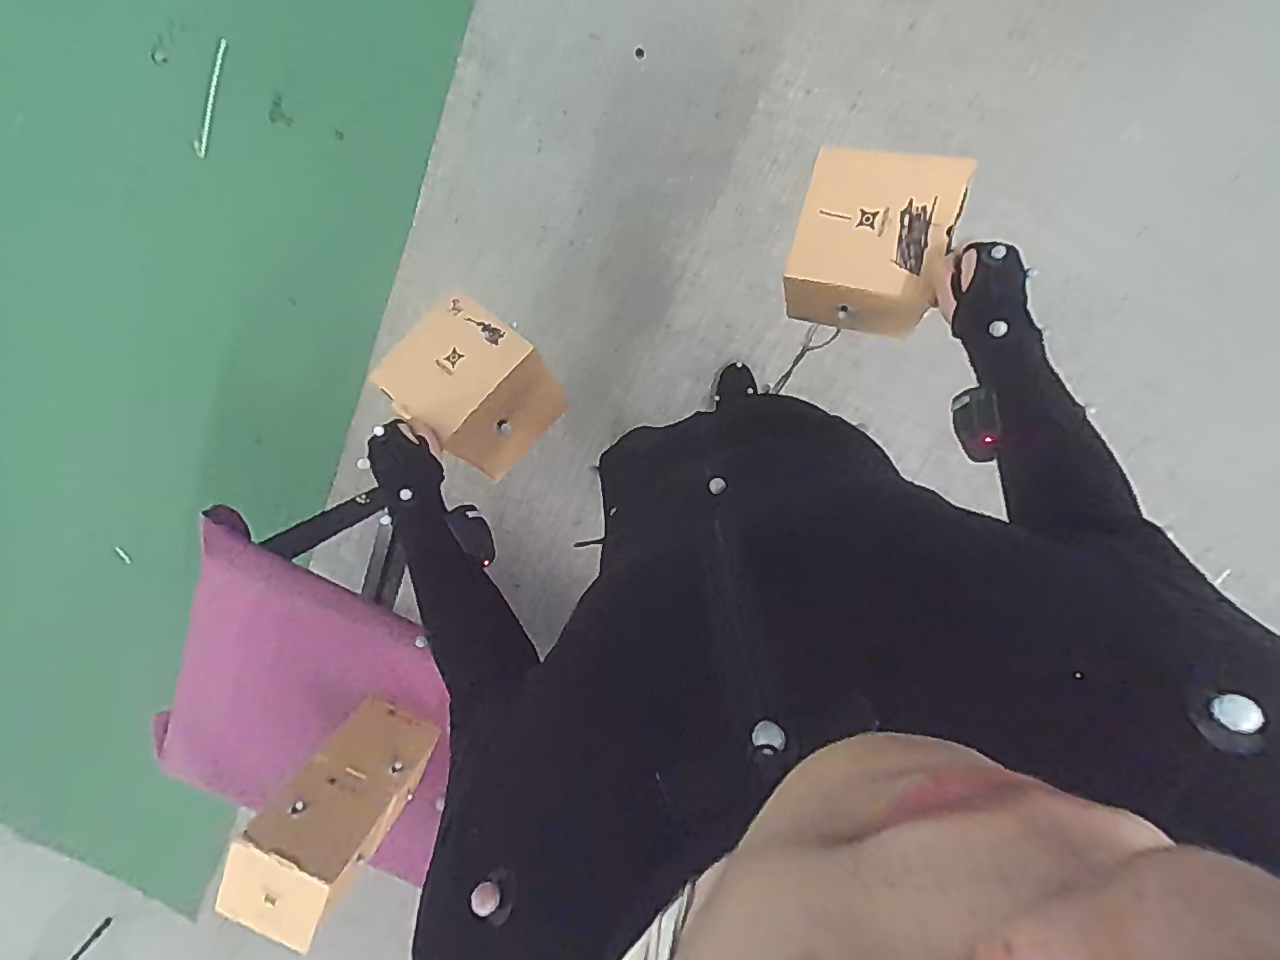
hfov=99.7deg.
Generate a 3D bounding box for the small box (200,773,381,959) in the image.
[{"bbox_3d":[-0.557,0.626,0.882,0.168,0.176,0.179,26,107,1],"label":"small box"}]

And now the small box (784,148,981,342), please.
[{"bbox_3d":[0.299,-0.292,0.704,0.179,0.176,0.168,18,93,17],"label":"small box"}]

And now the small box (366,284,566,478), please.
[{"bbox_3d":[-0.232,-0.129,0.766,0.168,0.176,0.179,40,84,19],"label":"small box"}]
